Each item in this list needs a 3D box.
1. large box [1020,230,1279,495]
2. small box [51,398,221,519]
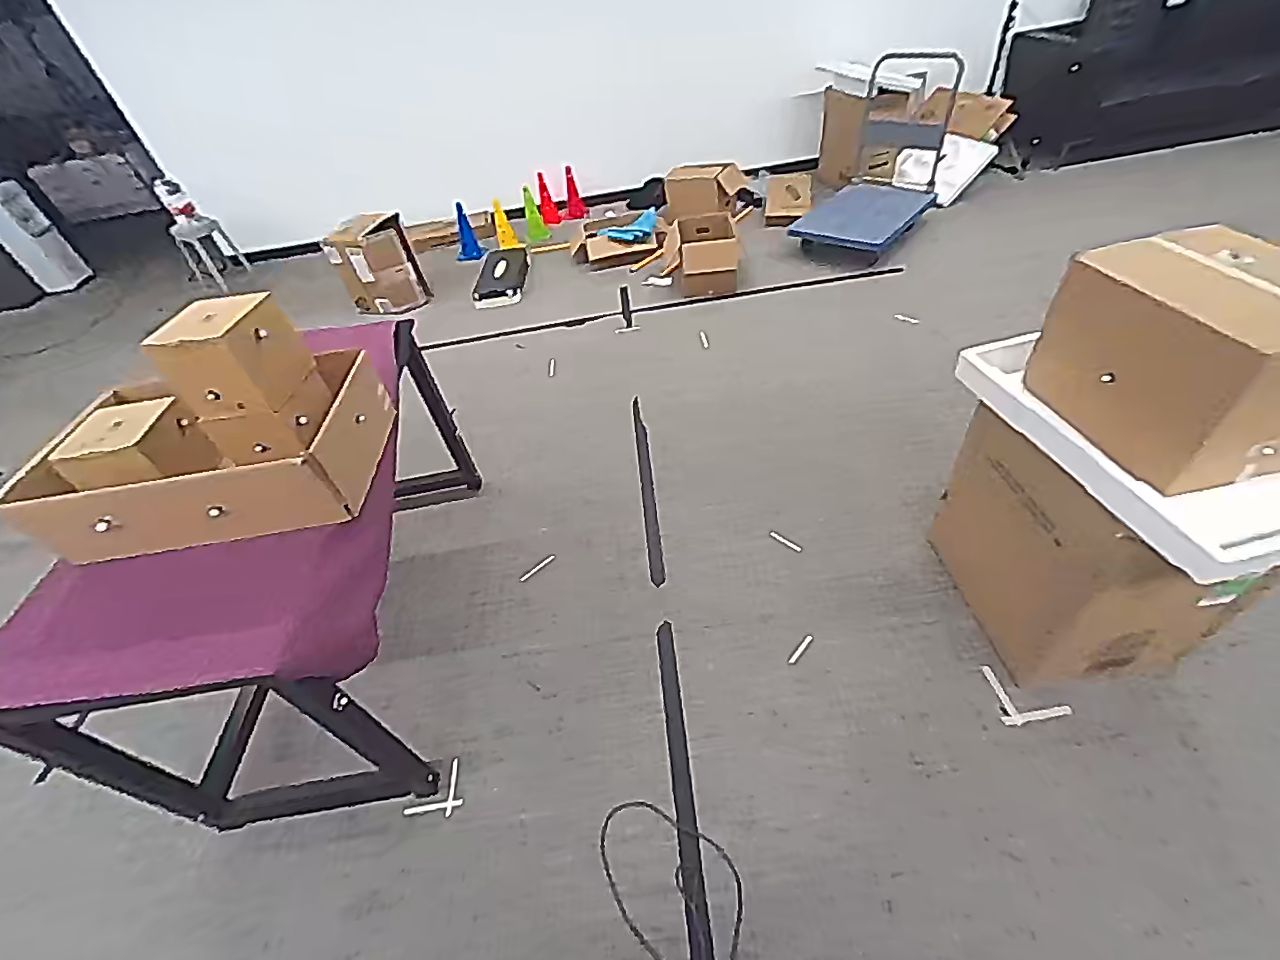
[{"bbox_3d":[1.058,-0.236,1.046,0.320,0.320,0.408,-12,42,-2],"label":"large box"},{"bbox_3d":[-1.035,-0.045,1.135,0.168,0.176,0.179,-11,43,-2],"label":"small box"}]
